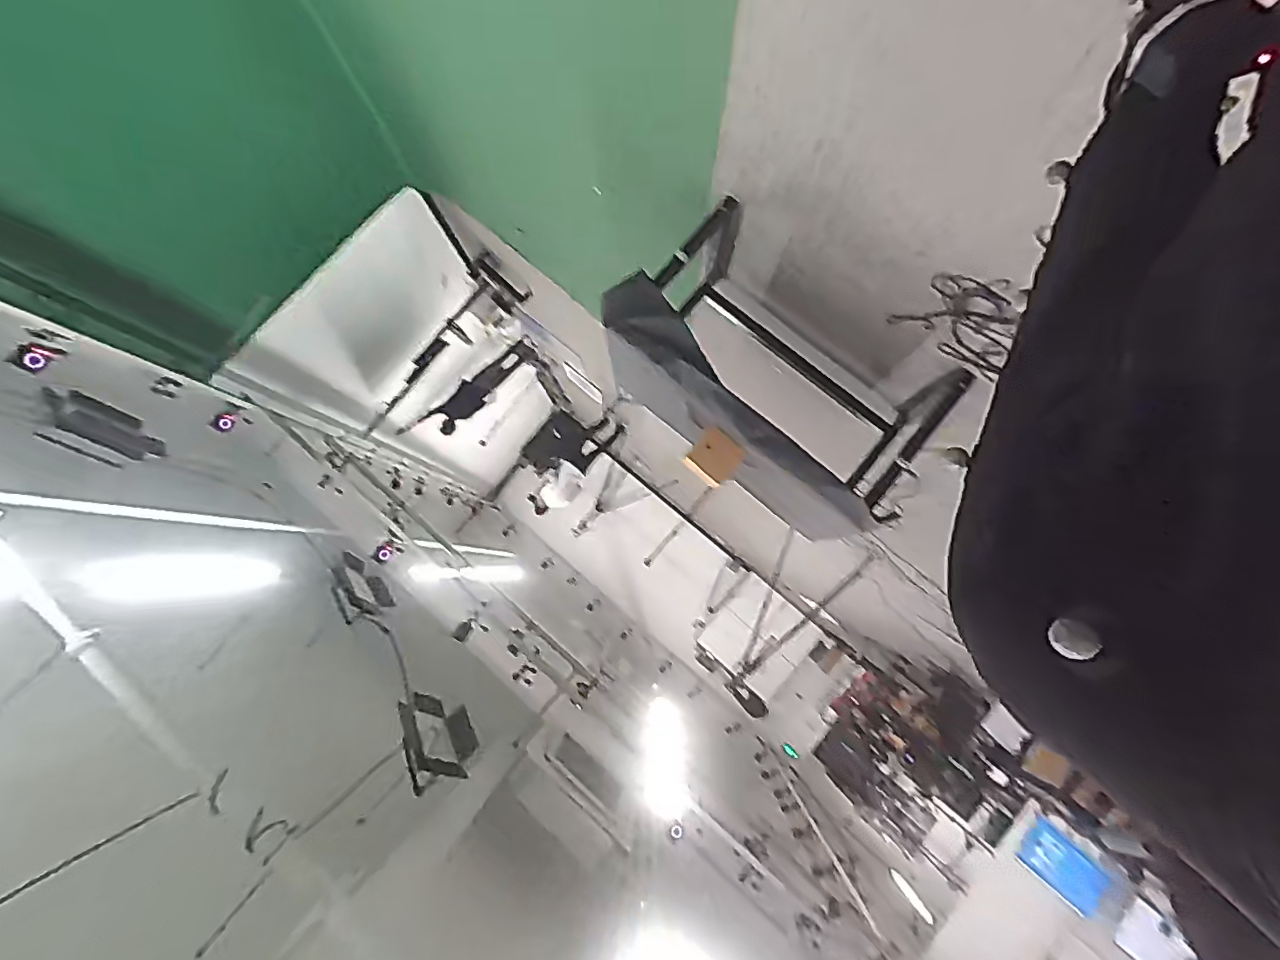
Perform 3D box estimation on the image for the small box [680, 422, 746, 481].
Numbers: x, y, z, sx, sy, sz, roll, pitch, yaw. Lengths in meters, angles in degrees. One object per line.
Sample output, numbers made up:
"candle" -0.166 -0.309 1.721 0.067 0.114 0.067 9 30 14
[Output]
"small box" 0.286 -0.116 2.137 0.179 0.176 0.168 40 176 -2
